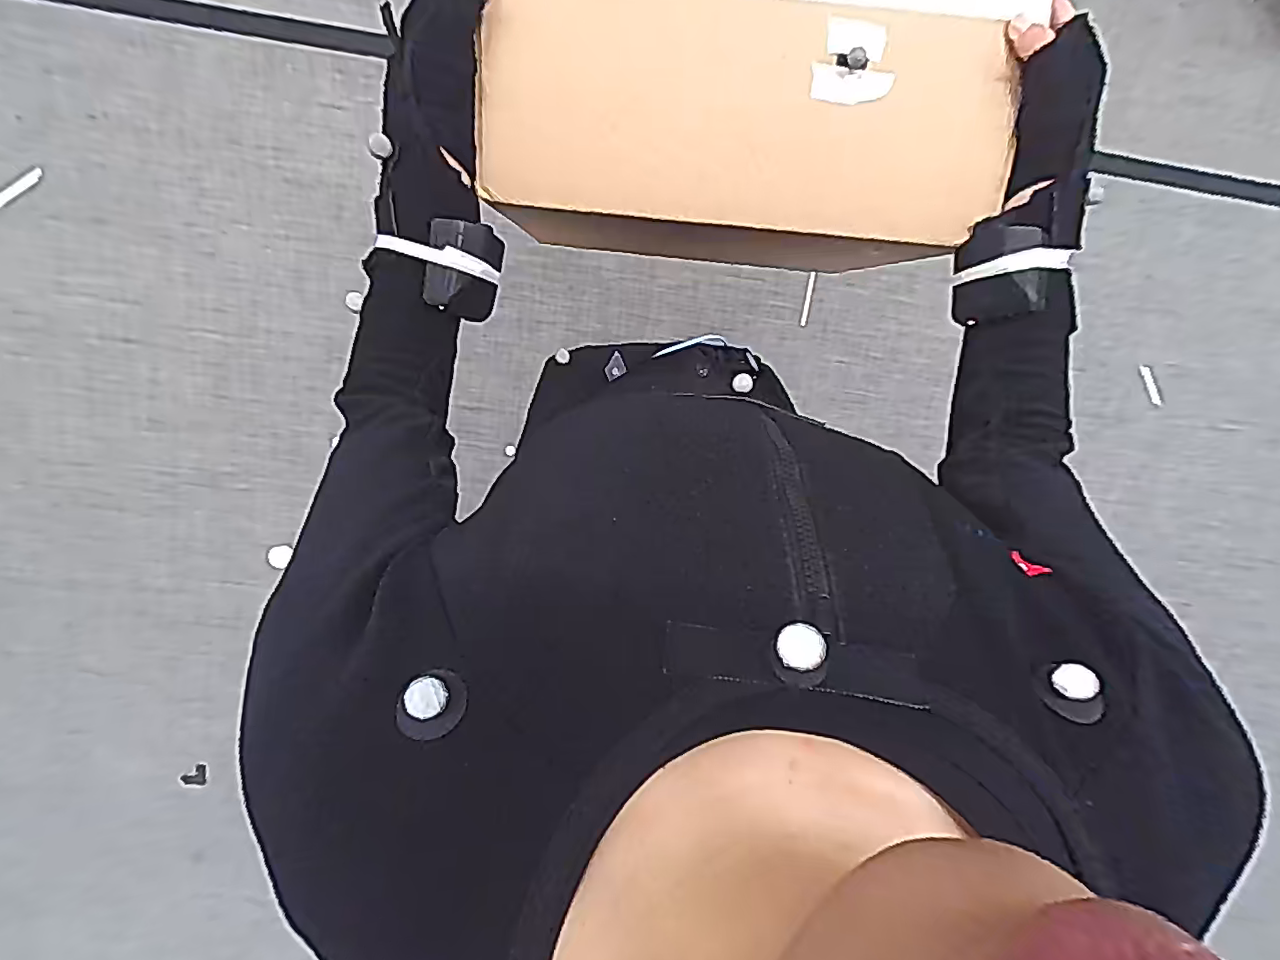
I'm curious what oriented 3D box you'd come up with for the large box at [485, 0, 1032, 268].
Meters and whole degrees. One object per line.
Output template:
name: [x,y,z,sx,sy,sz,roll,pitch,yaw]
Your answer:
large box: [0.080,-0.396,0.530,0.408,0.320,0.320,4,109,-4]
